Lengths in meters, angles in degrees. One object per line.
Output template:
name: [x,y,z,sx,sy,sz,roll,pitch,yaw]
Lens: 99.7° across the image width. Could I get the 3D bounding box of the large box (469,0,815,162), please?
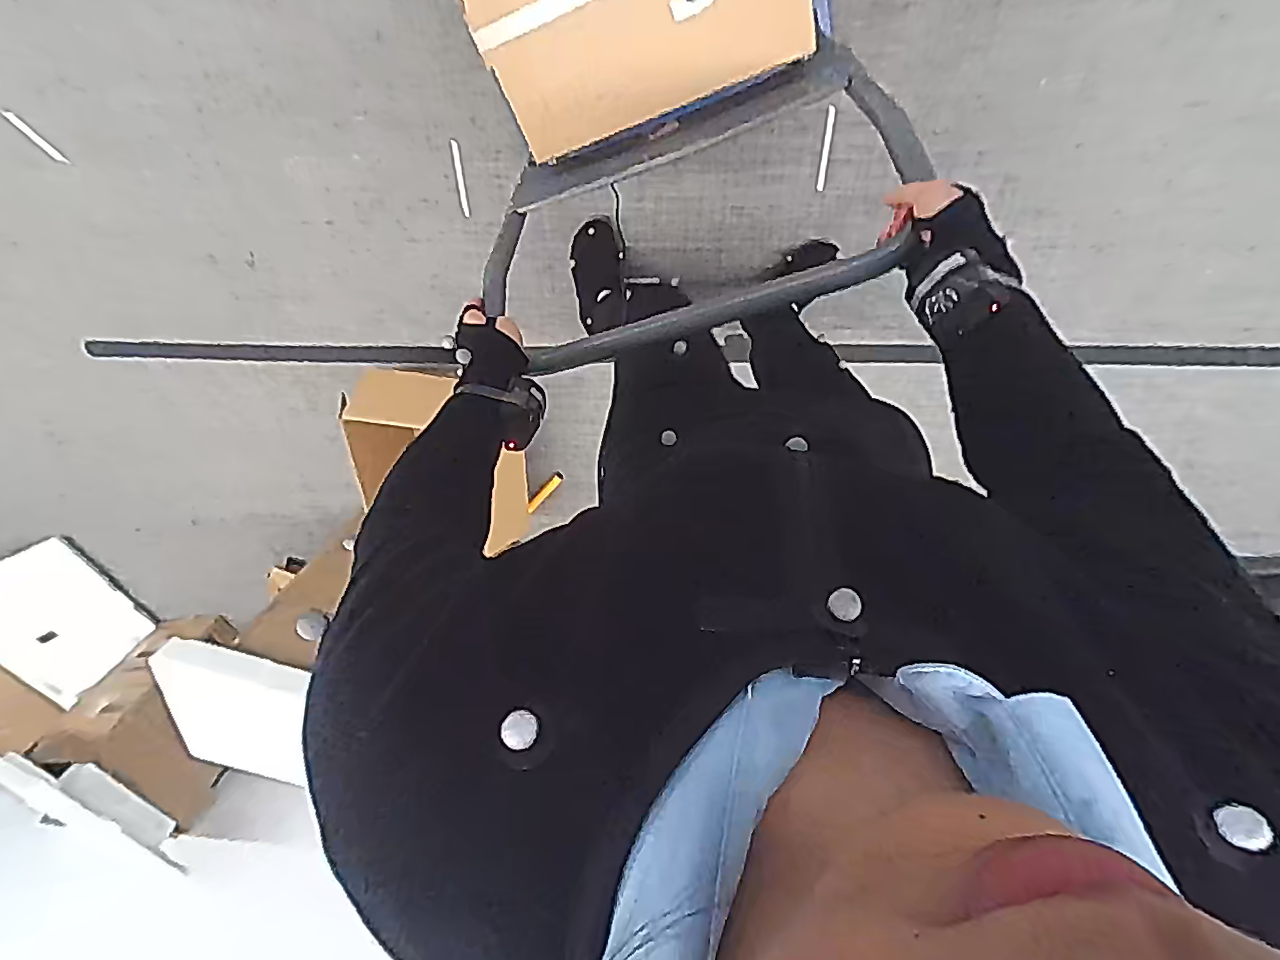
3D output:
large box: [-0.012,-0.723,0.751,0.408,0.320,0.320,-14,135,16]
